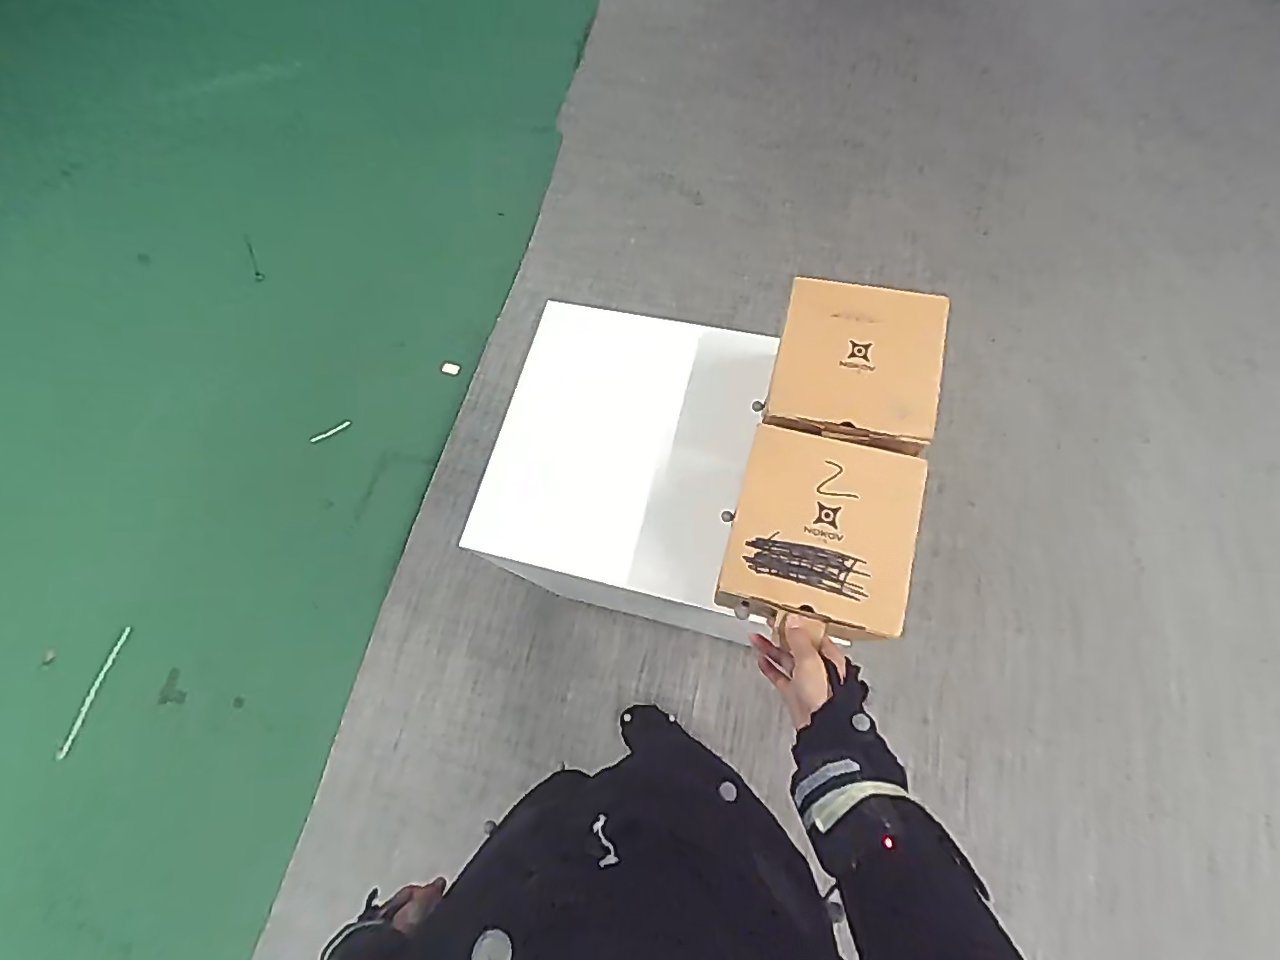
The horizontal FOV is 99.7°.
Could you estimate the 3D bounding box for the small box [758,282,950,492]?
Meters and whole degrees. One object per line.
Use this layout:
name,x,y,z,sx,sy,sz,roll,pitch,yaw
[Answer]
small box,0.241,-0.101,0.645,0.168,0.176,0.179,12,72,10
